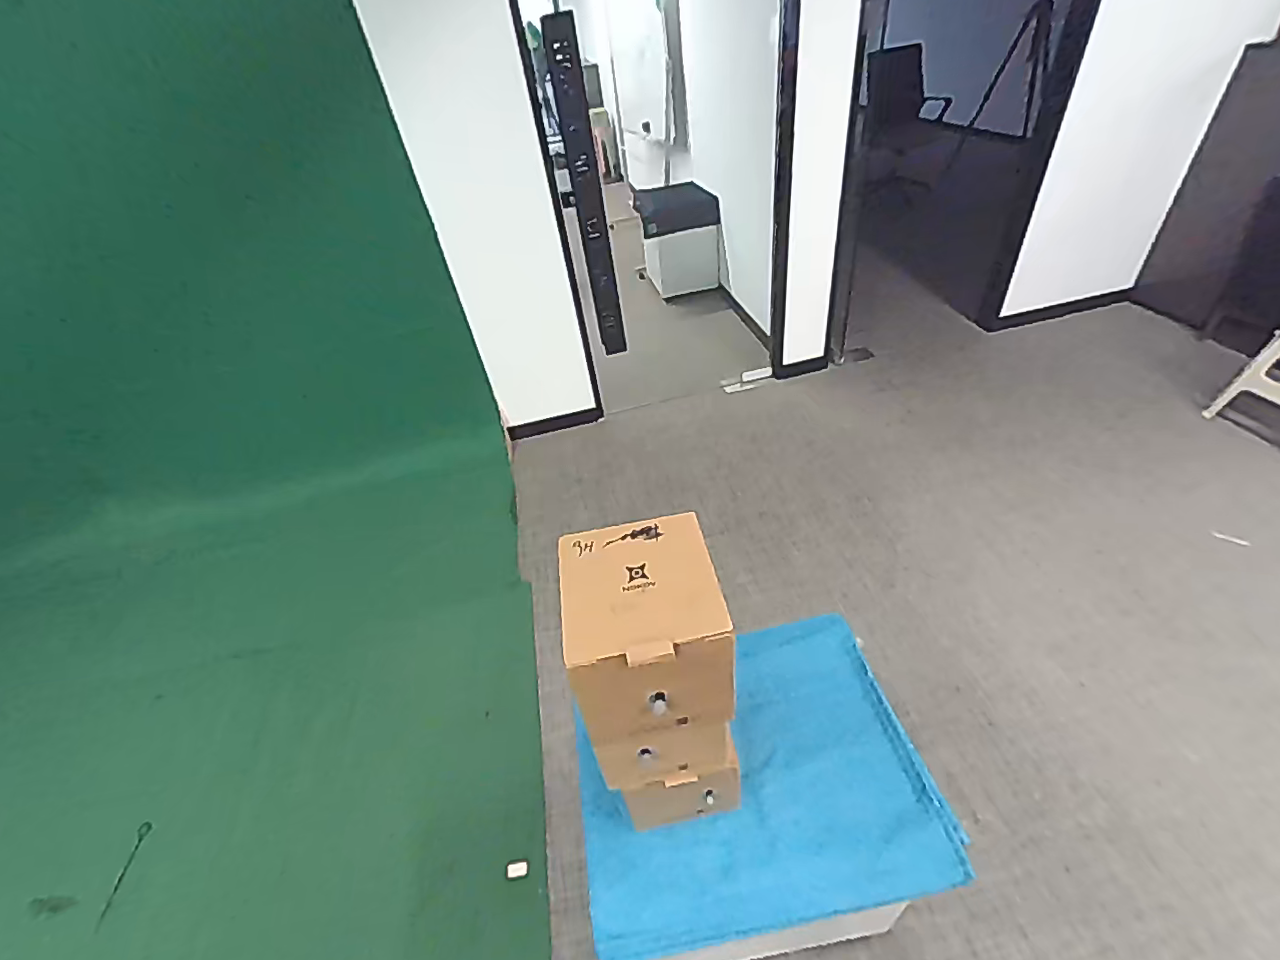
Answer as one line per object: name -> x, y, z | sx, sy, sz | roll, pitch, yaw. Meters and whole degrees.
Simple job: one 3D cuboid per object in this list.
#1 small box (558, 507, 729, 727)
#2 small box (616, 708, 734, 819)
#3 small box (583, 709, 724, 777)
small box -> 0.004, 0.160, 0.618 | 0.168, 0.176, 0.179 | -9, 40, -2
small box -> 0.047, 0.398, 0.836 | 0.168, 0.176, 0.179 | -10, 39, -2
small box -> 0.016, 0.278, 0.731 | 0.168, 0.176, 0.179 | -9, 39, -1
